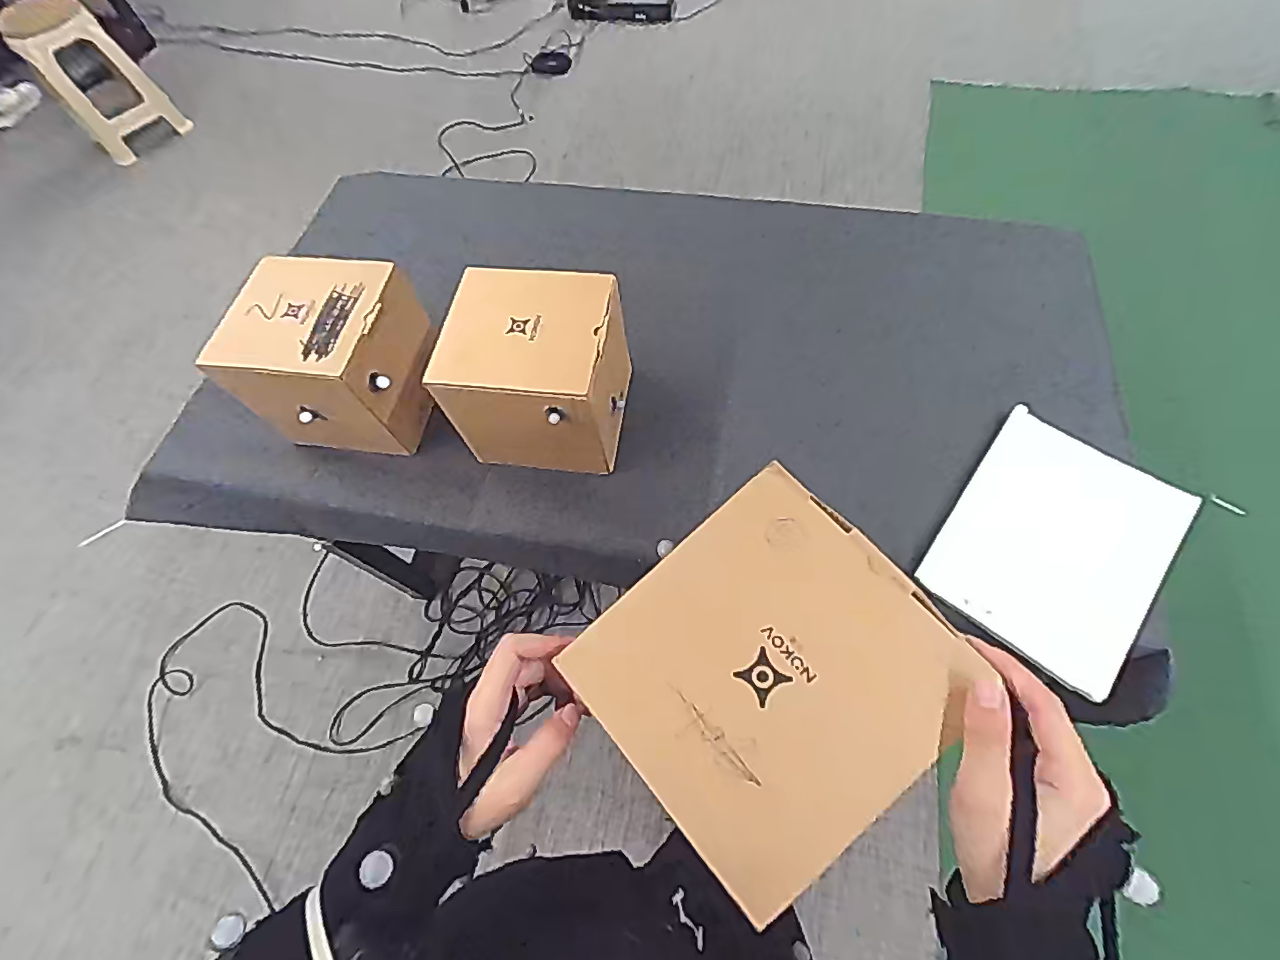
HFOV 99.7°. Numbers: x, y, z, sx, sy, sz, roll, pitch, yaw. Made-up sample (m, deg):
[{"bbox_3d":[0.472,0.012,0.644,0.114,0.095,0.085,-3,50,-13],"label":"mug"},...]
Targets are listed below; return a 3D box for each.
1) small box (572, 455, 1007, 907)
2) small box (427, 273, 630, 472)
[{"bbox_3d":[0.085,0.117,0.368,0.179,0.176,0.168,-43,72,-5],"label":"small box"},{"bbox_3d":[-0.115,-0.121,0.644,0.179,0.176,0.168,5,63,7],"label":"small box"}]
